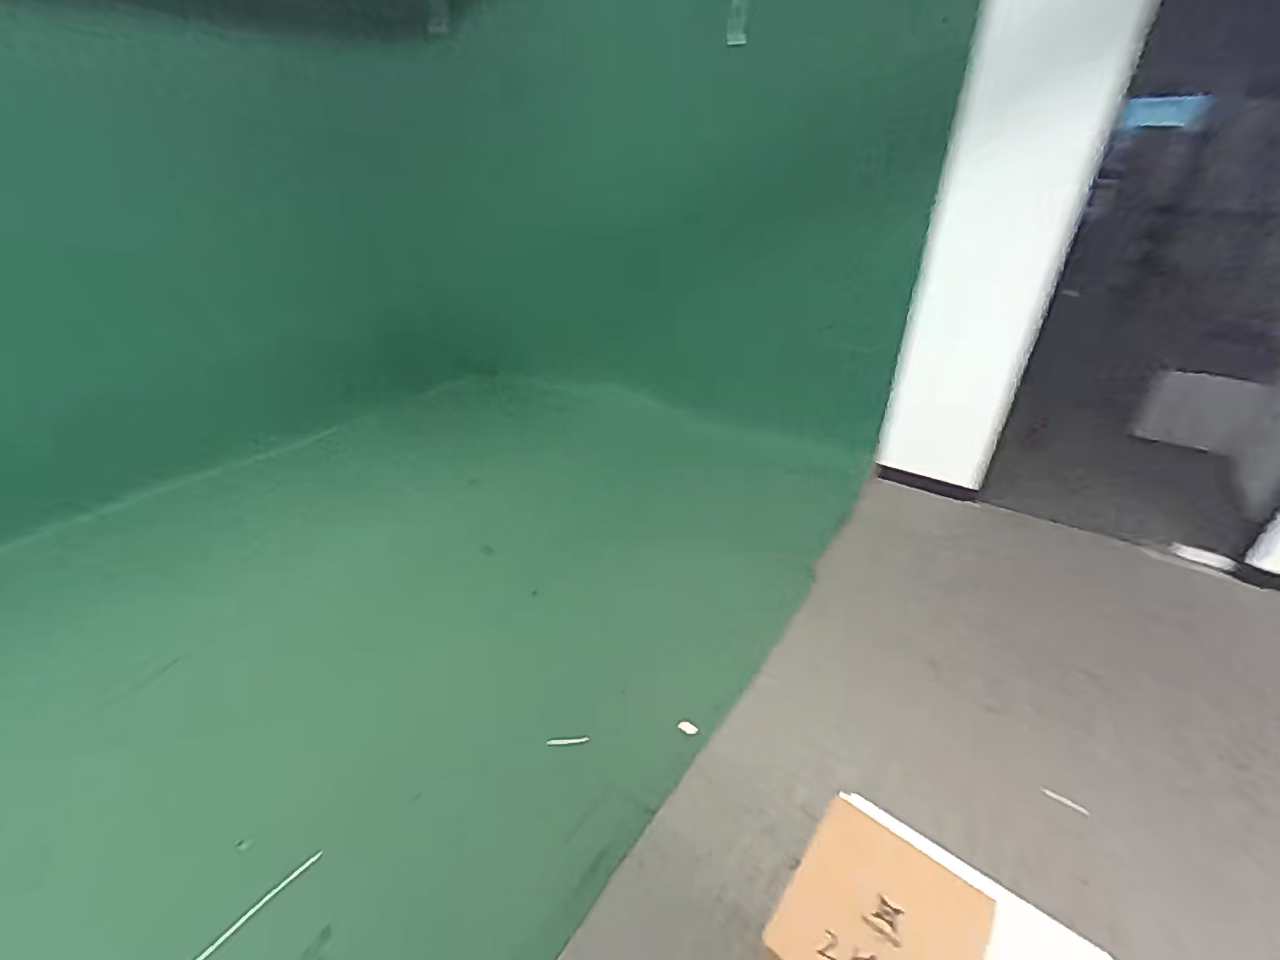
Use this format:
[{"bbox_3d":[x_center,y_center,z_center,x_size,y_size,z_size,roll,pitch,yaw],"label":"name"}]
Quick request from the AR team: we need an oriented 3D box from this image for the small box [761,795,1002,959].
[{"bbox_3d":[0.233,0.483,0.553,0.168,0.176,0.179,24,40,34],"label":"small box"}]
